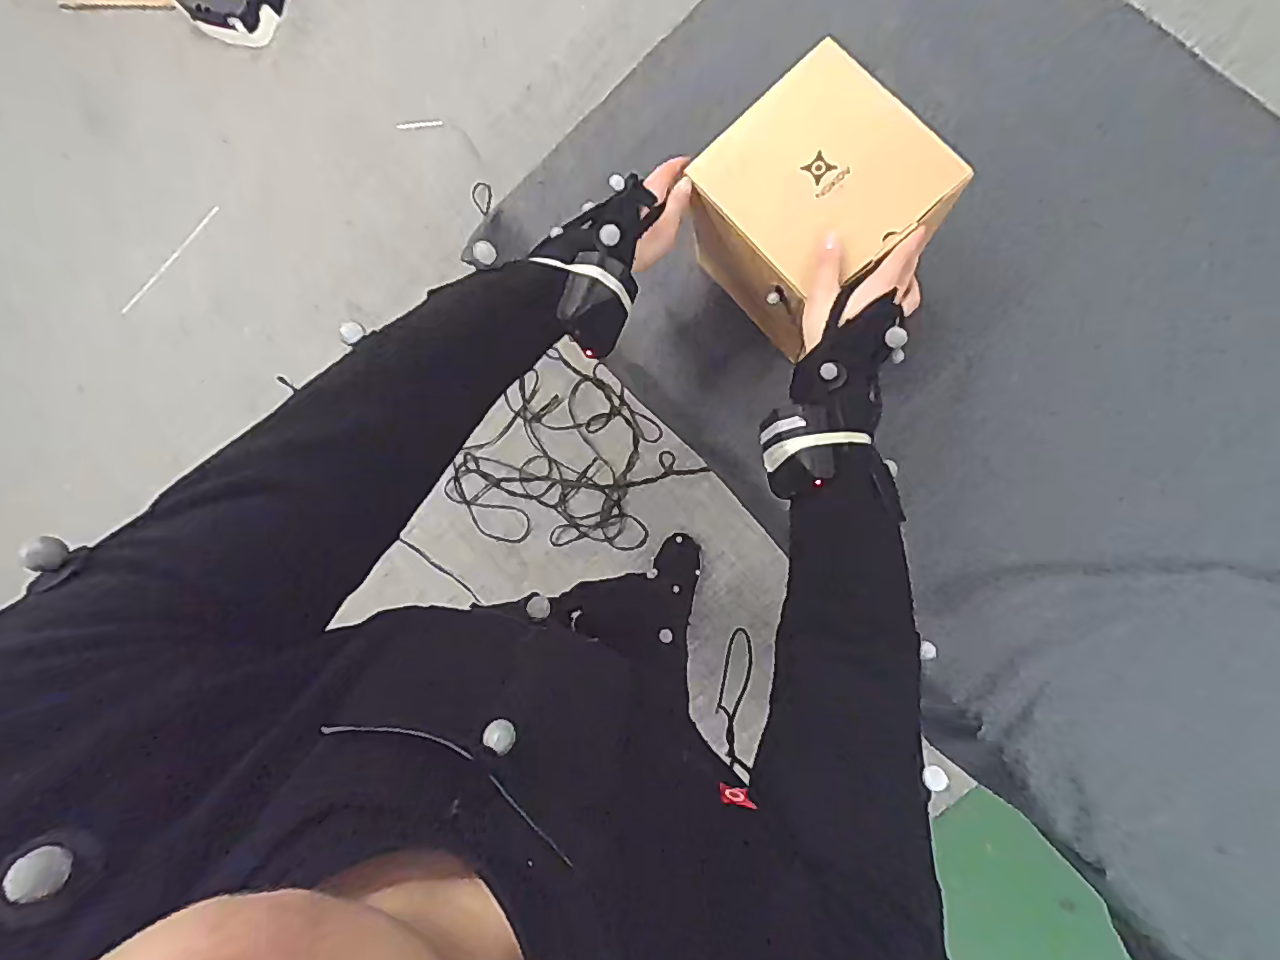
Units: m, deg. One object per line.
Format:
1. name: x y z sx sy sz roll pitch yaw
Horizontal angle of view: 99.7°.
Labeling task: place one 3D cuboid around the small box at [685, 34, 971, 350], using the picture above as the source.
1. small box: 0.164 -0.258 0.531 0.168 0.176 0.179 -41 81 5
